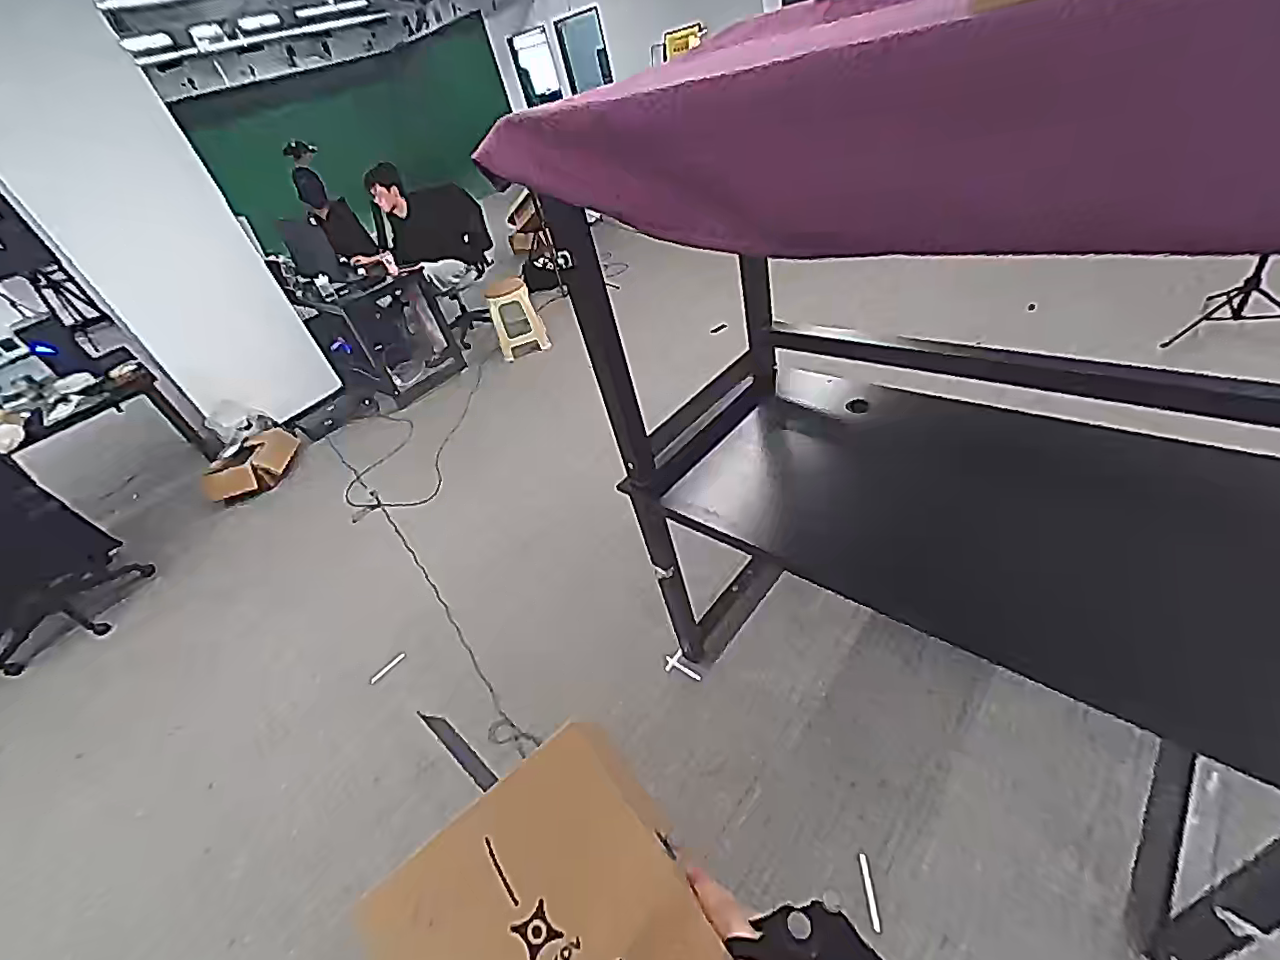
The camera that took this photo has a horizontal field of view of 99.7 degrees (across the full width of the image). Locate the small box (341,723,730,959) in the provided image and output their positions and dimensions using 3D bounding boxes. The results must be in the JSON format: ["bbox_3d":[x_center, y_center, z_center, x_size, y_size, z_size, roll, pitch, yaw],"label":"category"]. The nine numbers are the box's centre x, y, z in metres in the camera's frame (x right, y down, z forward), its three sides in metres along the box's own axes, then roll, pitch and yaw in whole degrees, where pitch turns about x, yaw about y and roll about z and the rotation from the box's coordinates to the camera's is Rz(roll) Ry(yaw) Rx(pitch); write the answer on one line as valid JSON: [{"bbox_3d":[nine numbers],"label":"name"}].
[{"bbox_3d":[-0.054,0.292,0.373,0.168,0.176,0.179,-37,68,-14],"label":"small box"}]
